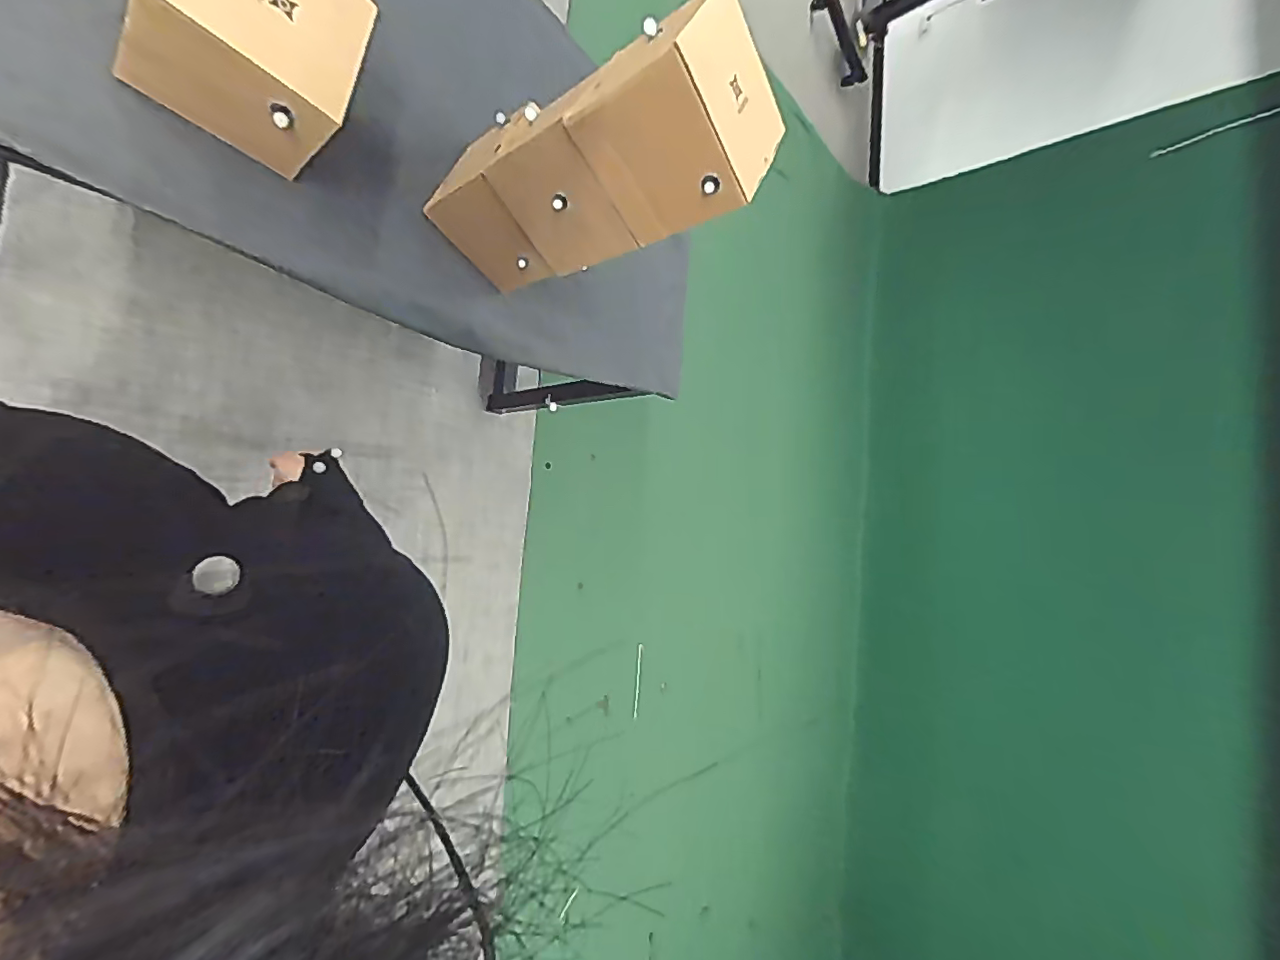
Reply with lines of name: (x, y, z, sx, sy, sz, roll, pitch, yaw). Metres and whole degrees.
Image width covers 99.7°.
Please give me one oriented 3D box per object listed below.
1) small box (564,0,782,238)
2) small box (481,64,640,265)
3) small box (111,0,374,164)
small box: (0.041, -0.424, 0.641, 0.179, 0.176, 0.168, 48, 56, -38)
small box: (-0.080, -0.424, 0.751, 0.179, 0.176, 0.168, 50, 55, -36)
small box: (-0.434, -0.488, 0.597, 0.179, 0.176, 0.168, 22, 73, -46)
